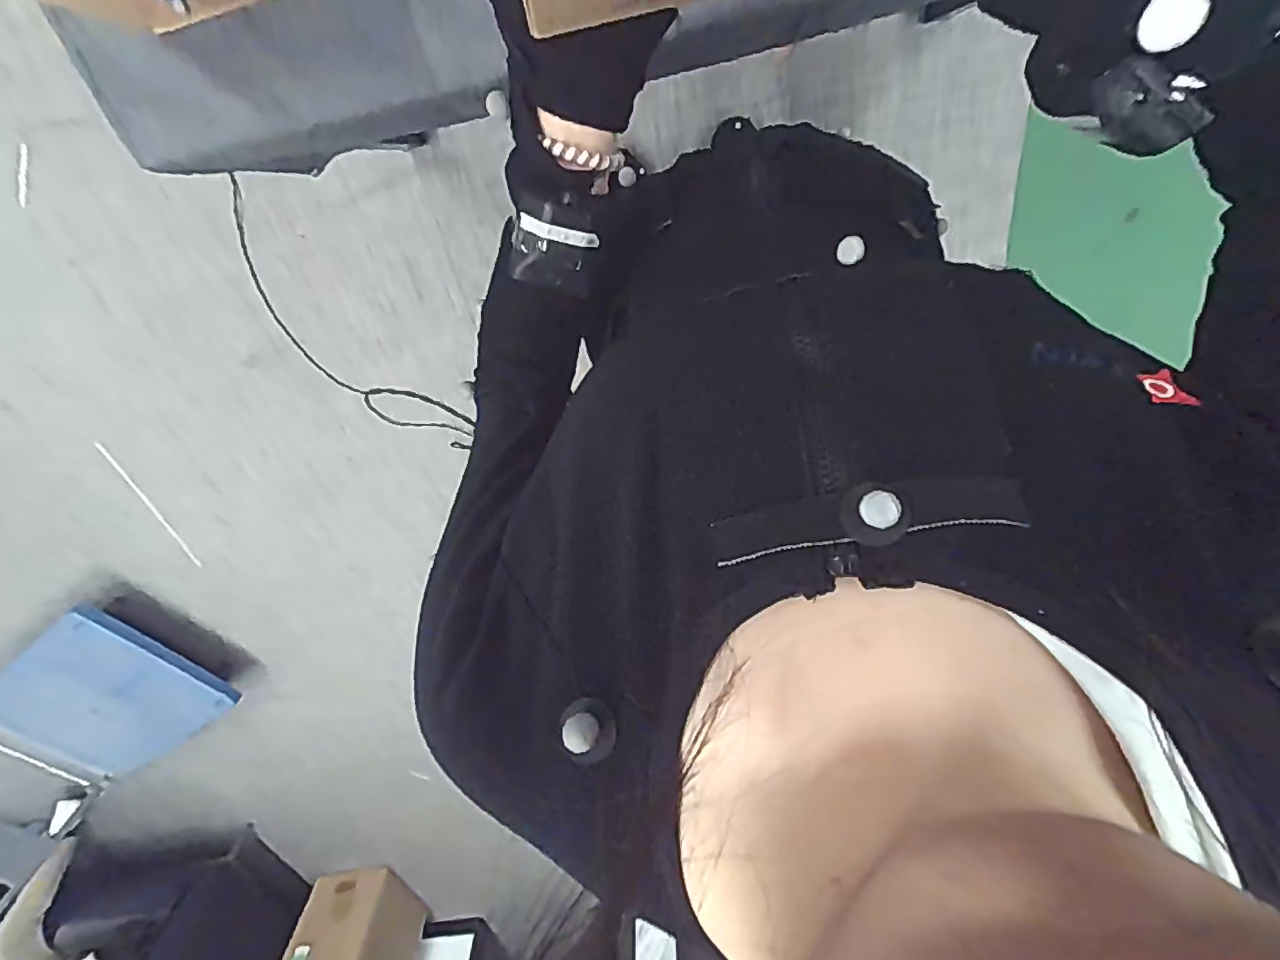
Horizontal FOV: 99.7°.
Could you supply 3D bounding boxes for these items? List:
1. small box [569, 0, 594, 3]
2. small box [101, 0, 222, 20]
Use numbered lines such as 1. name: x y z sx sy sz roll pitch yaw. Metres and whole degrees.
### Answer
1. small box: 0.014 -0.300 0.180 0.168 0.176 0.179 -14 117 -1
2. small box: -0.408 -0.484 0.397 0.168 0.176 0.179 -12 121 6
